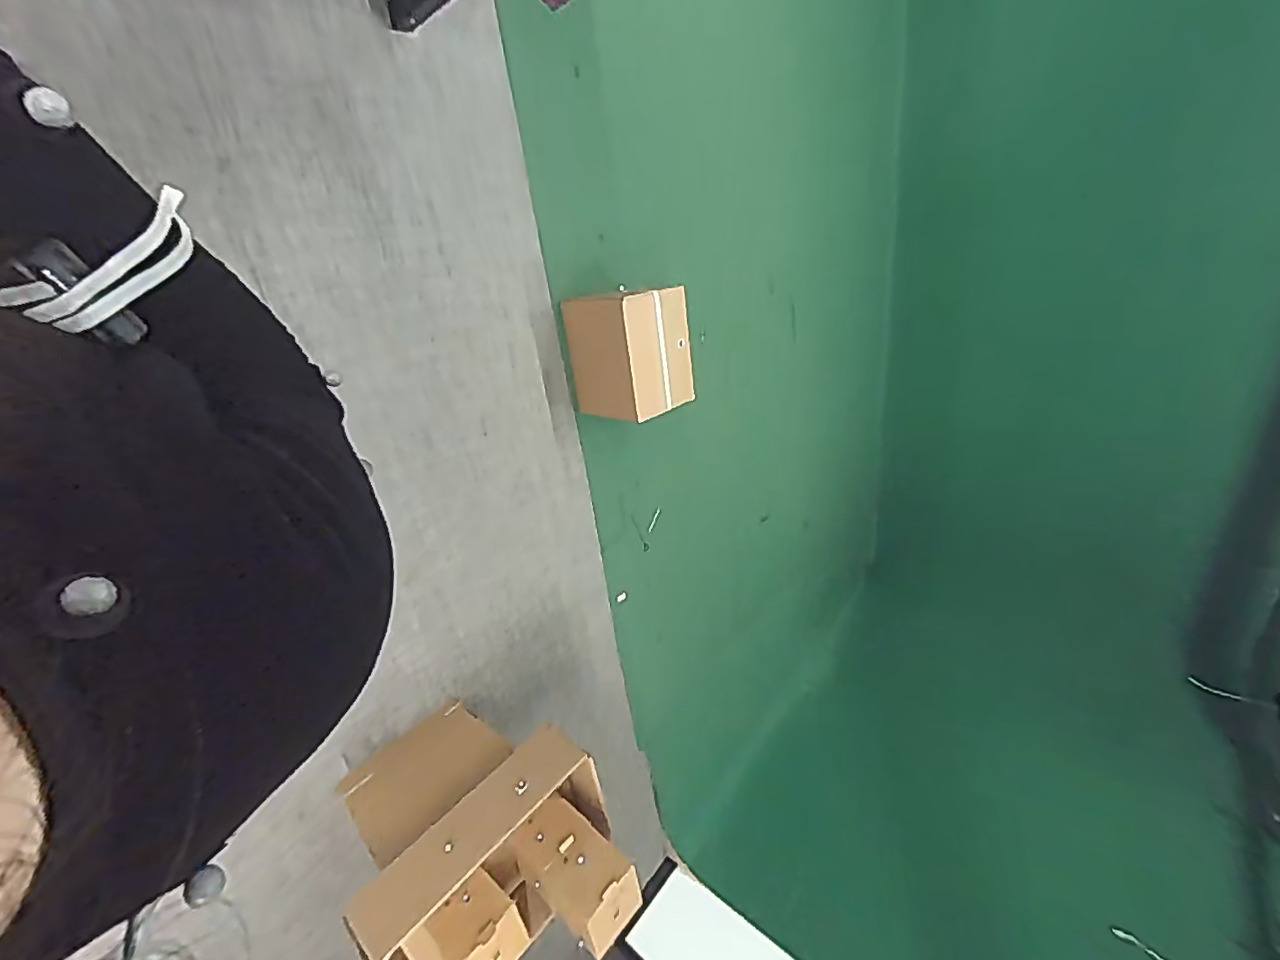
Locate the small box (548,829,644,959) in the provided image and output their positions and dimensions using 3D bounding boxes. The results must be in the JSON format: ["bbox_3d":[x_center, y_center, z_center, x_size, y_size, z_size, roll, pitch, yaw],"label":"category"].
[{"bbox_3d":[-0.113,1.059,1.399,0.168,0.176,0.179,-30,122,-39],"label":"small box"}]

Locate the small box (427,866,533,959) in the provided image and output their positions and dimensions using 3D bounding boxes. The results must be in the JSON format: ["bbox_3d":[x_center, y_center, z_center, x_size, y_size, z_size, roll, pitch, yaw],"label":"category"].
[{"bbox_3d":[-0.399,1.124,1.350,0.168,0.176,0.179,-32,122,-40],"label":"small box"}]
